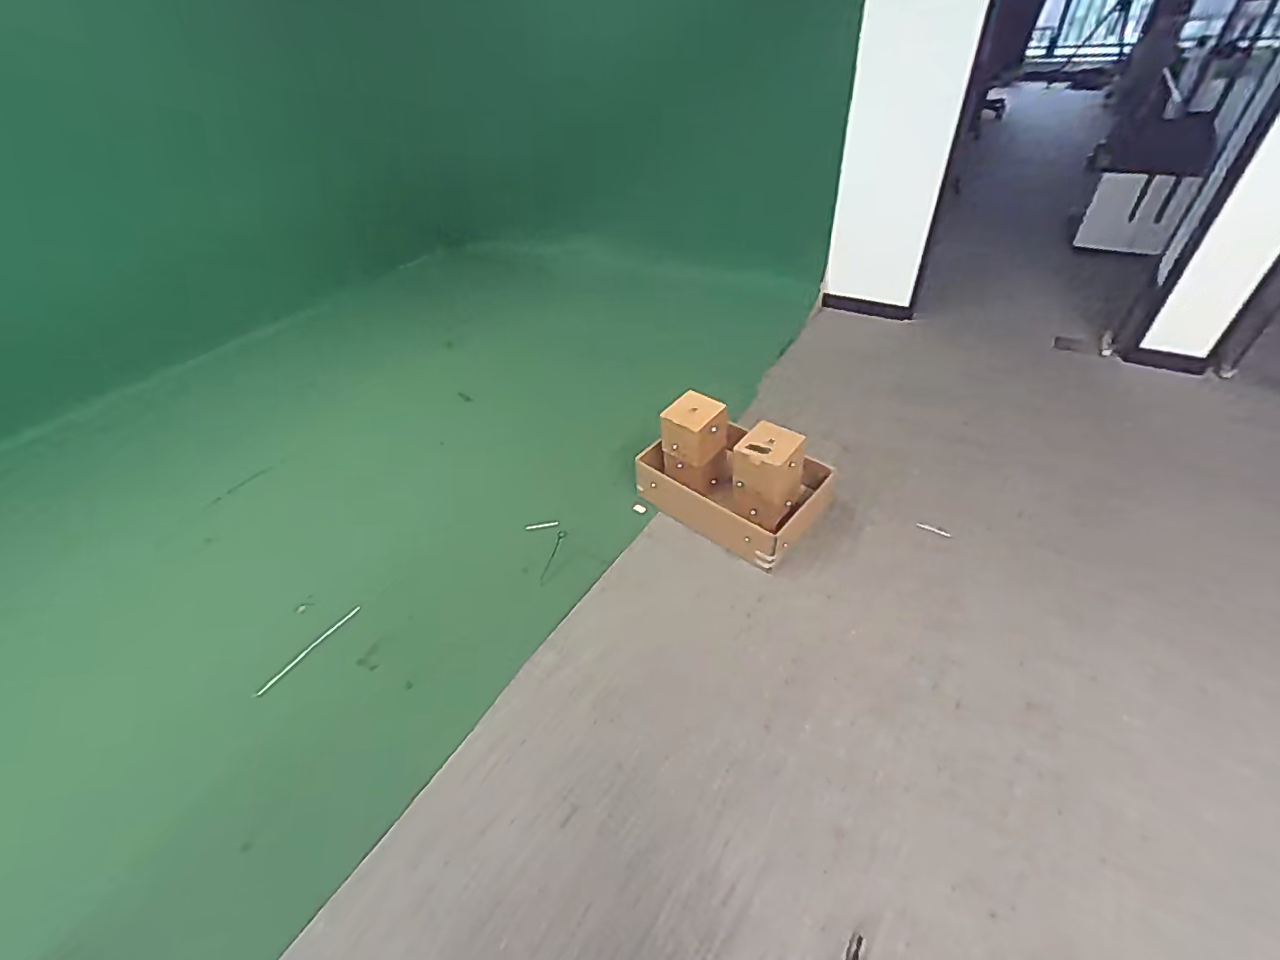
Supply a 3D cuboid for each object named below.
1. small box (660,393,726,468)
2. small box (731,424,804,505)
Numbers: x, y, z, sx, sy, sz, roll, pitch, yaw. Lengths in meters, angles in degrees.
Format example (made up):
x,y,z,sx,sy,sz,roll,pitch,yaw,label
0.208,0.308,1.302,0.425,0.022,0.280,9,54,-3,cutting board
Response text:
x,y,z,sx,sy,sz,roll,pitch,yaw,label
0.189,-0.175,1.930,0.168,0.176,0.179,30,56,31,small box
0.414,-0.049,1.764,0.168,0.176,0.179,28,53,32,small box
